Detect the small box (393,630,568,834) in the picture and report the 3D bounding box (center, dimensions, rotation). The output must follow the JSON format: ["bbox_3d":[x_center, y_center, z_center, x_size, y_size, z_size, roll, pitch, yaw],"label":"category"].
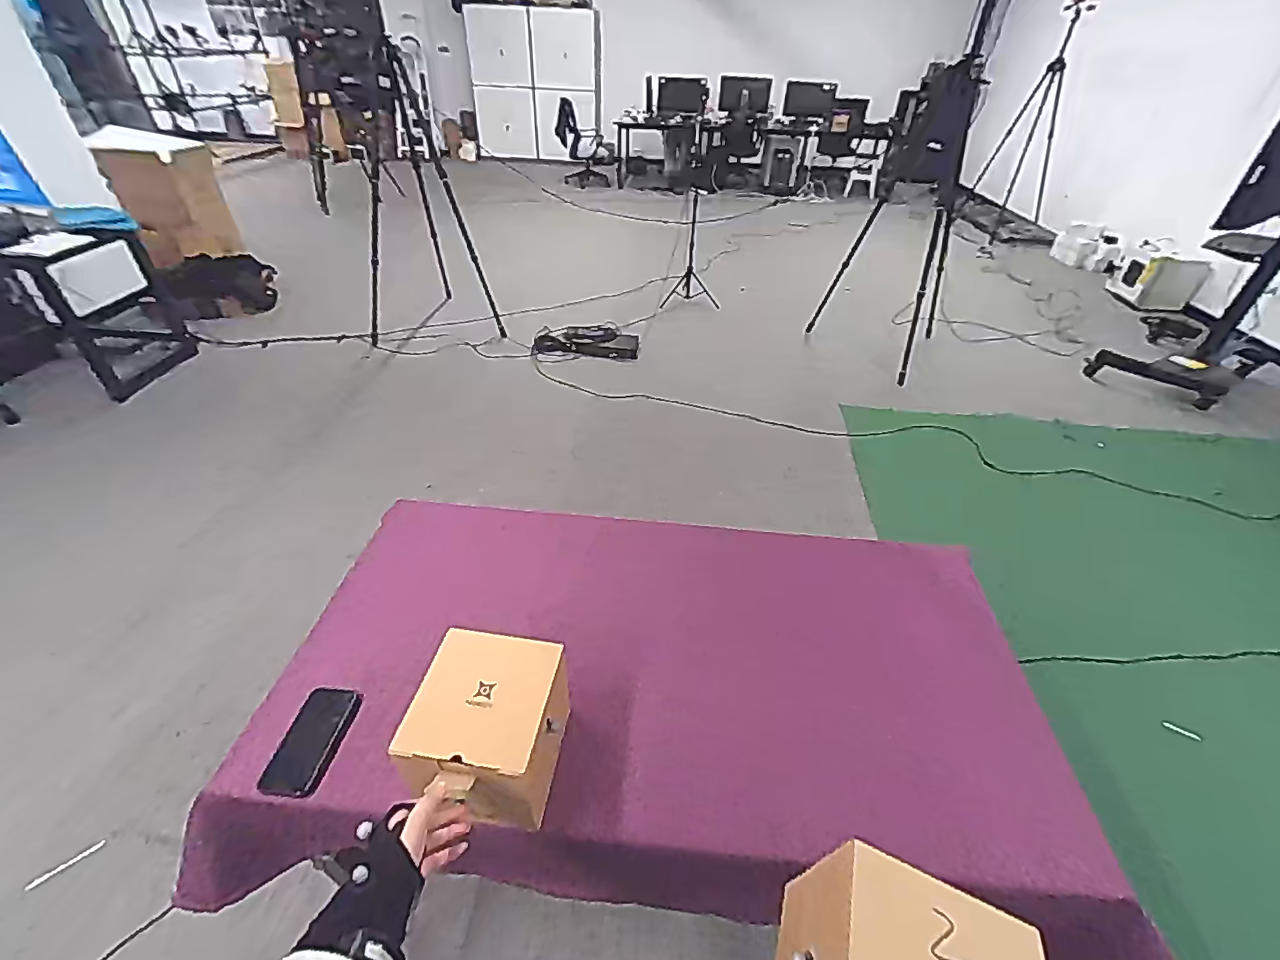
[{"bbox_3d":[-0.197,0.335,0.725,0.168,0.176,0.179,8,39,6],"label":"small box"}]
